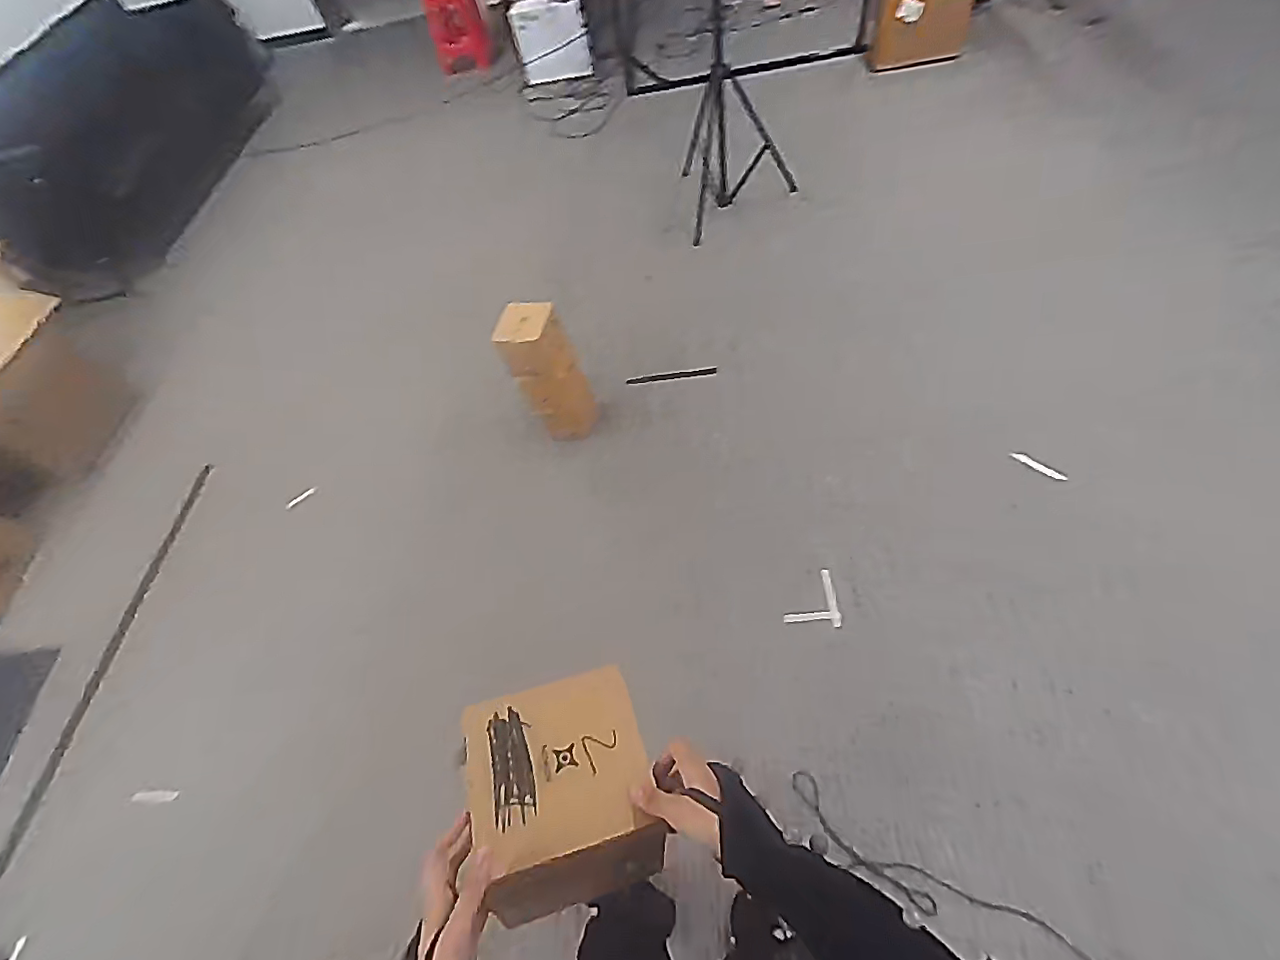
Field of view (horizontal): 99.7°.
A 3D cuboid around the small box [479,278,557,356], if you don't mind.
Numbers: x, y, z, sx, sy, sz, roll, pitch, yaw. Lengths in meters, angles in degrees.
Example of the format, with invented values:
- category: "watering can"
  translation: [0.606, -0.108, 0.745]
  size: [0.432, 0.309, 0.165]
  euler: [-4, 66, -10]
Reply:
- category: "small box"
  translation: [-0.379, -0.520, 1.722]
  size: [0.168, 0.176, 0.179]
  euler: [4, 60, 15]

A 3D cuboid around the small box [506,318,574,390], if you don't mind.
- category: "small box"
  translation: [-0.334, -0.428, 1.852]
  size: [0.168, 0.176, 0.179]
  euler: [-1, 59, 12]

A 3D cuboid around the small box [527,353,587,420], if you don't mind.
- category: "small box"
  translation: [-0.297, -0.340, 1.983]
  size: [0.168, 0.176, 0.179]
  euler: [-3, 58, 10]
